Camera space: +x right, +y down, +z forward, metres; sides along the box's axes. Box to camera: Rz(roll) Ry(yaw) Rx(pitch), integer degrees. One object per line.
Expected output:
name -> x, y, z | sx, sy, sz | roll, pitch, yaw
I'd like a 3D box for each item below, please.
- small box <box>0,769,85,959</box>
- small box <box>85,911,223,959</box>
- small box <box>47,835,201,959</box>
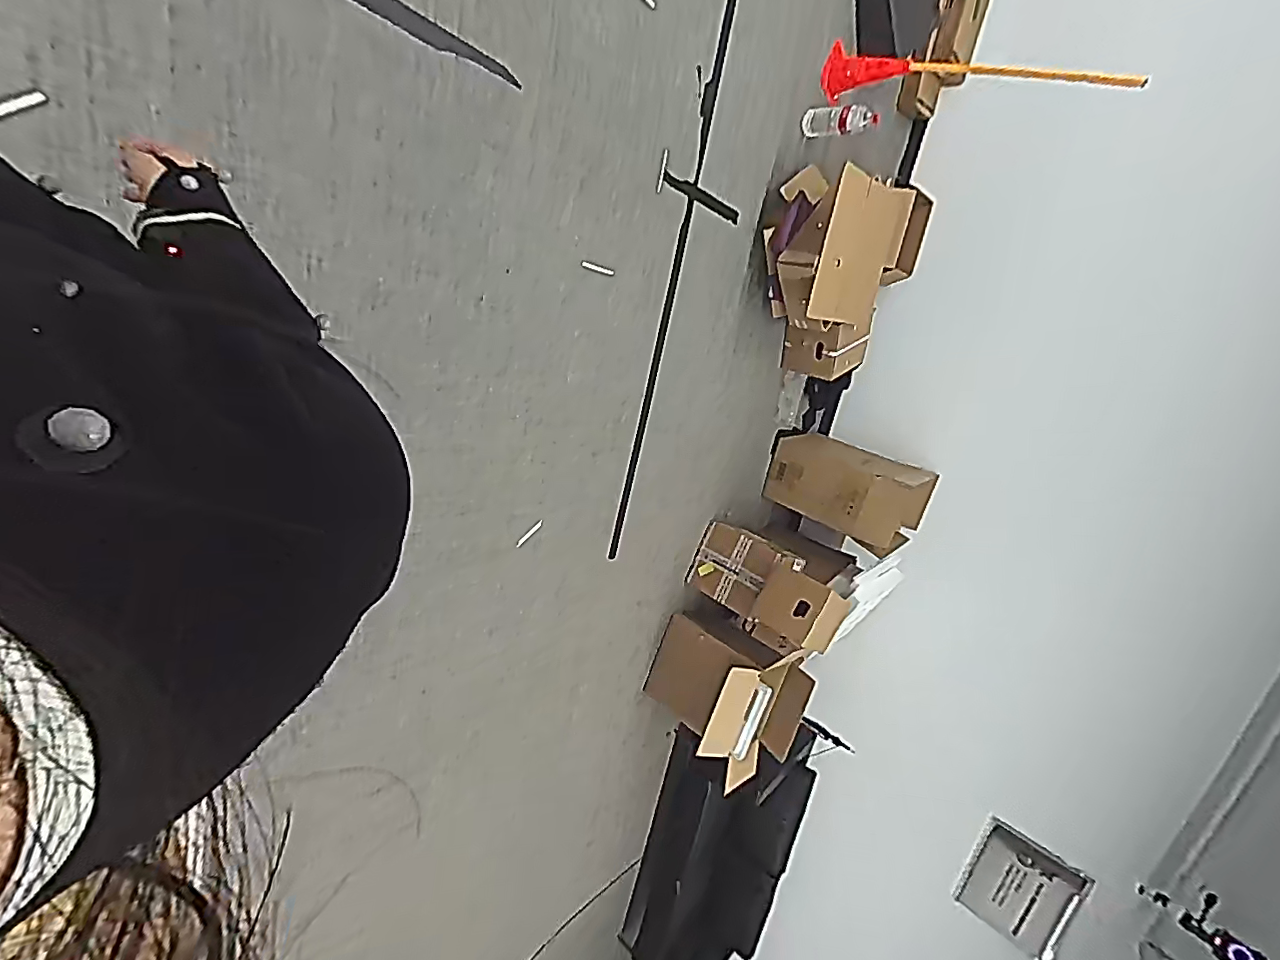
small box -> -0.817, 0.495, 0.666 | 0.168, 0.176, 0.179 | 0, 110, -51
small box -> -0.661, 0.730, 0.716 | 0.168, 0.176, 0.179 | -5, 114, -48
small box -> -0.784, 0.678, 0.808 | 0.168, 0.176, 0.179 | -2, 111, -50
